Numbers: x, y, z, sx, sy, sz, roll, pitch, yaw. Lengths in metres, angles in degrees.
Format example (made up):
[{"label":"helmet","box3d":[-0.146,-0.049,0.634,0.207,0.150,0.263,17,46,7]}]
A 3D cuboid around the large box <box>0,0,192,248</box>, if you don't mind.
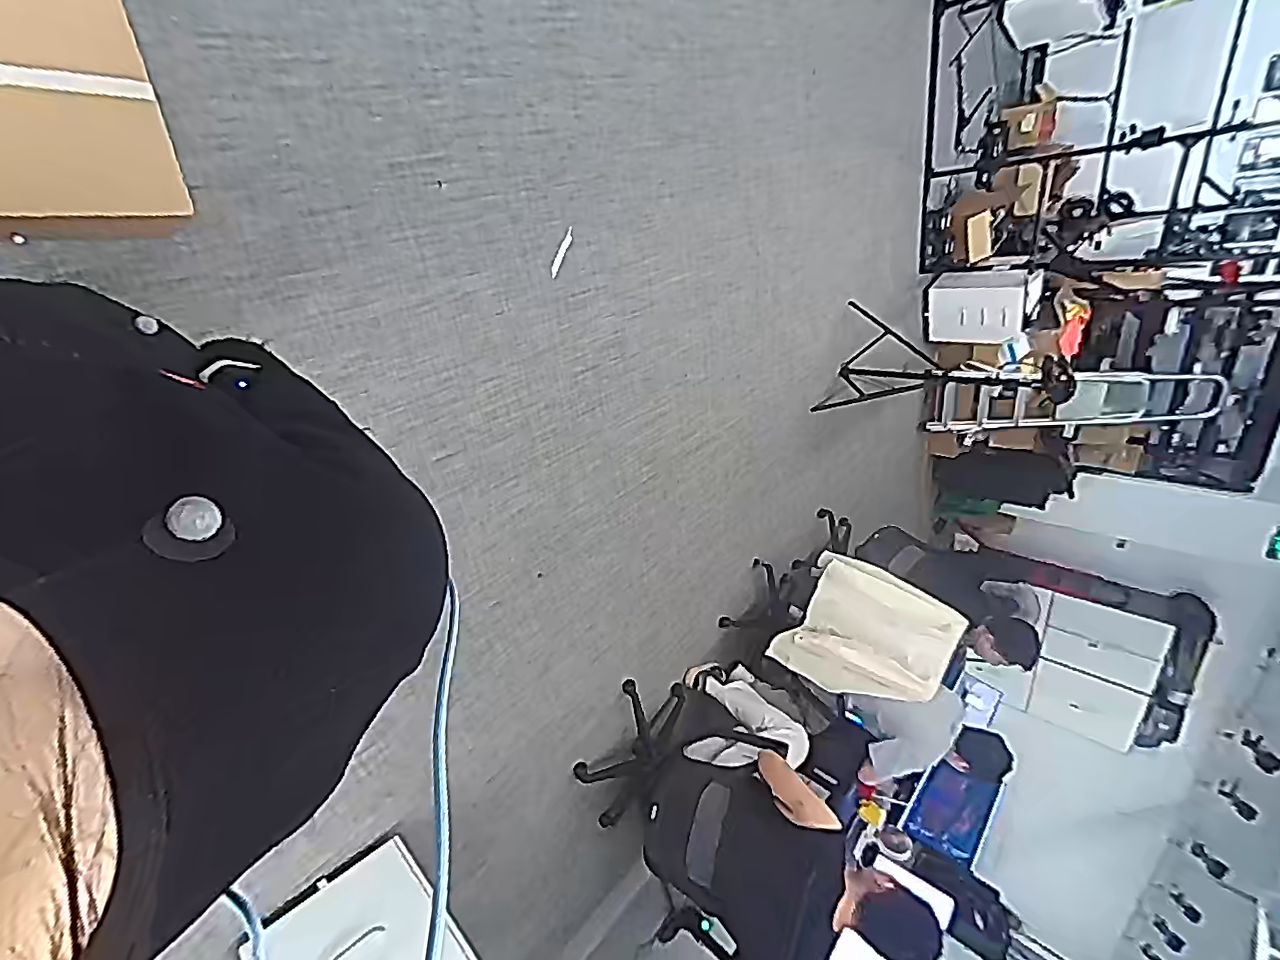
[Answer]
[{"label":"large box","box3d":[-0.937,-0.497,0.737,0.408,0.320,0.320,-25,120,-40]}]
